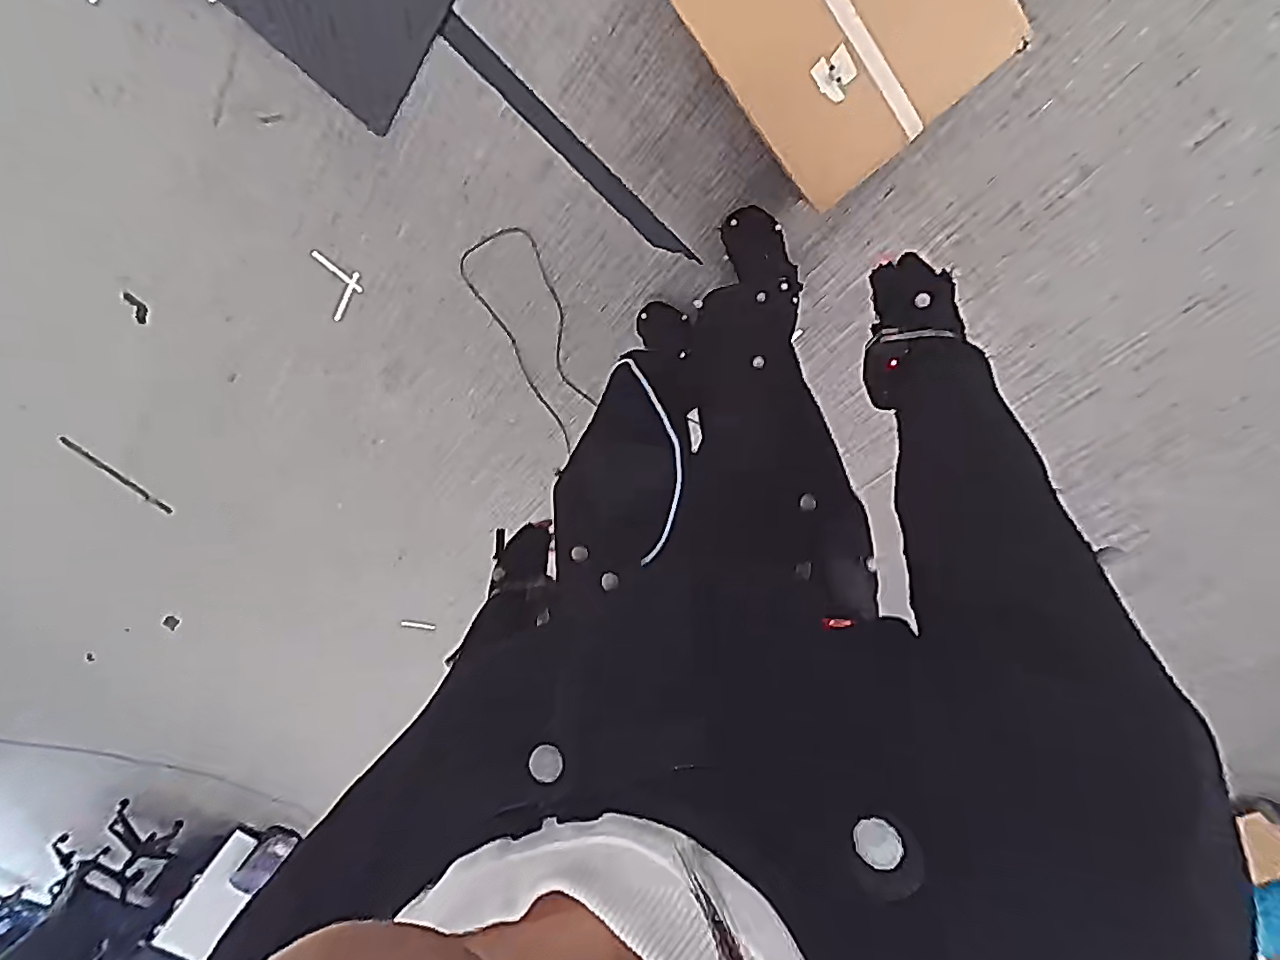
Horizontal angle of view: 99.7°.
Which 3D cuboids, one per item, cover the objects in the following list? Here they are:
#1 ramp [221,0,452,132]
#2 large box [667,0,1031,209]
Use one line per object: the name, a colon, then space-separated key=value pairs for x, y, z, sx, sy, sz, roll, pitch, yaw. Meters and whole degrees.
ramp: x=-0.758 y=-1.141 z=0.843 sx=0.991 sy=0.206 sz=0.509 roll=40 pitch=120 yaw=-14
large box: x=0.282 y=-0.703 z=0.826 sx=0.320 sy=0.320 sz=0.408 roll=-35 pitch=110 yaw=29
